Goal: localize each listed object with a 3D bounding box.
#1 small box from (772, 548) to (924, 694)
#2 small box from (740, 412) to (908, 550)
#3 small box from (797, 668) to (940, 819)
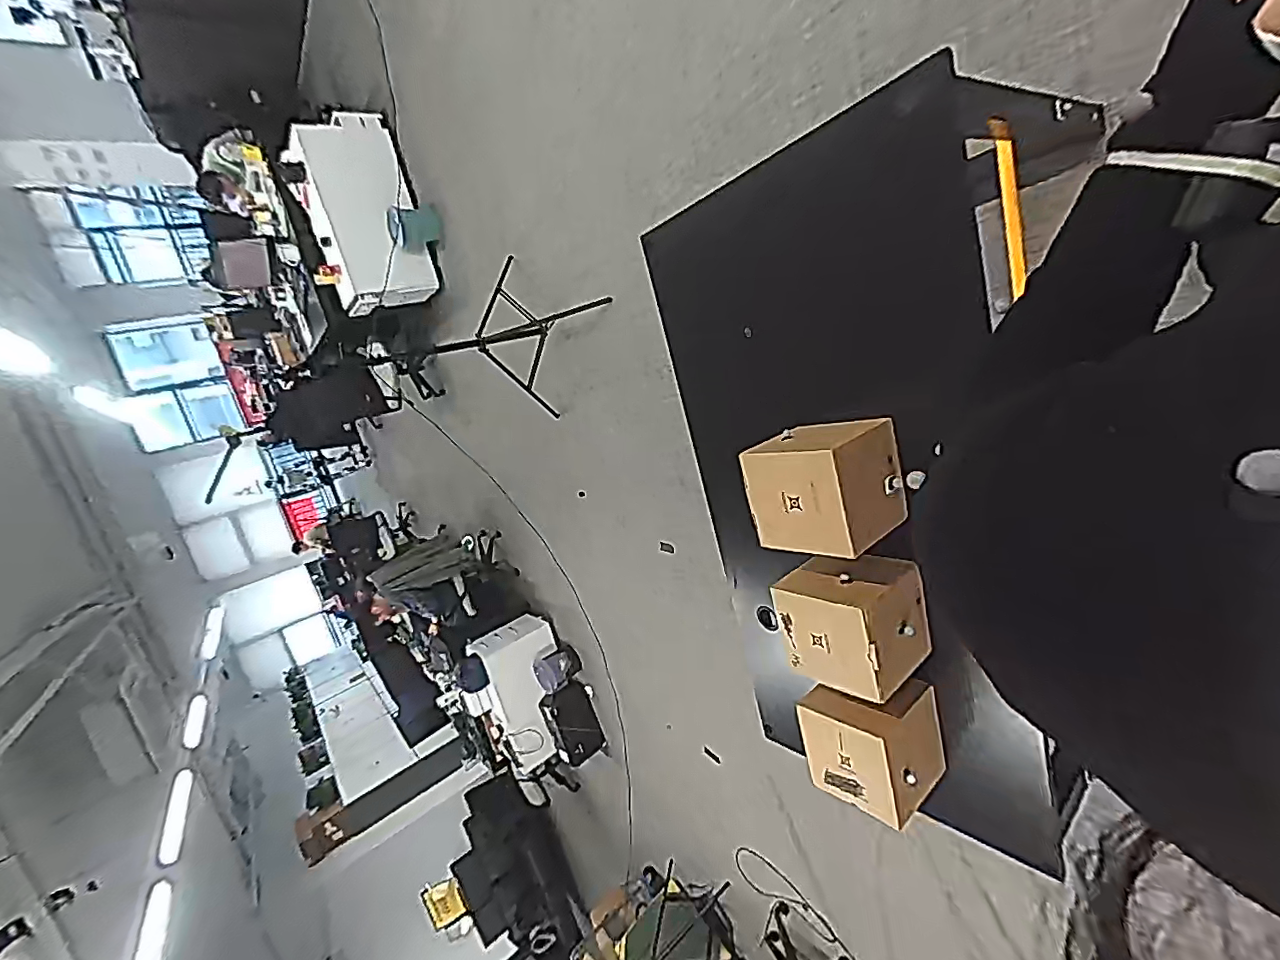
[{"bbox_3d":[0.357,0.222,0.912,0.179,0.176,0.168,1,109,54],"label":"small box"},{"bbox_3d":[0.295,-0.003,0.867,0.179,0.176,0.168,-1,110,53],"label":"small box"},{"bbox_3d":[0.411,0.442,0.966,0.168,0.176,0.179,1,109,53],"label":"small box"}]
